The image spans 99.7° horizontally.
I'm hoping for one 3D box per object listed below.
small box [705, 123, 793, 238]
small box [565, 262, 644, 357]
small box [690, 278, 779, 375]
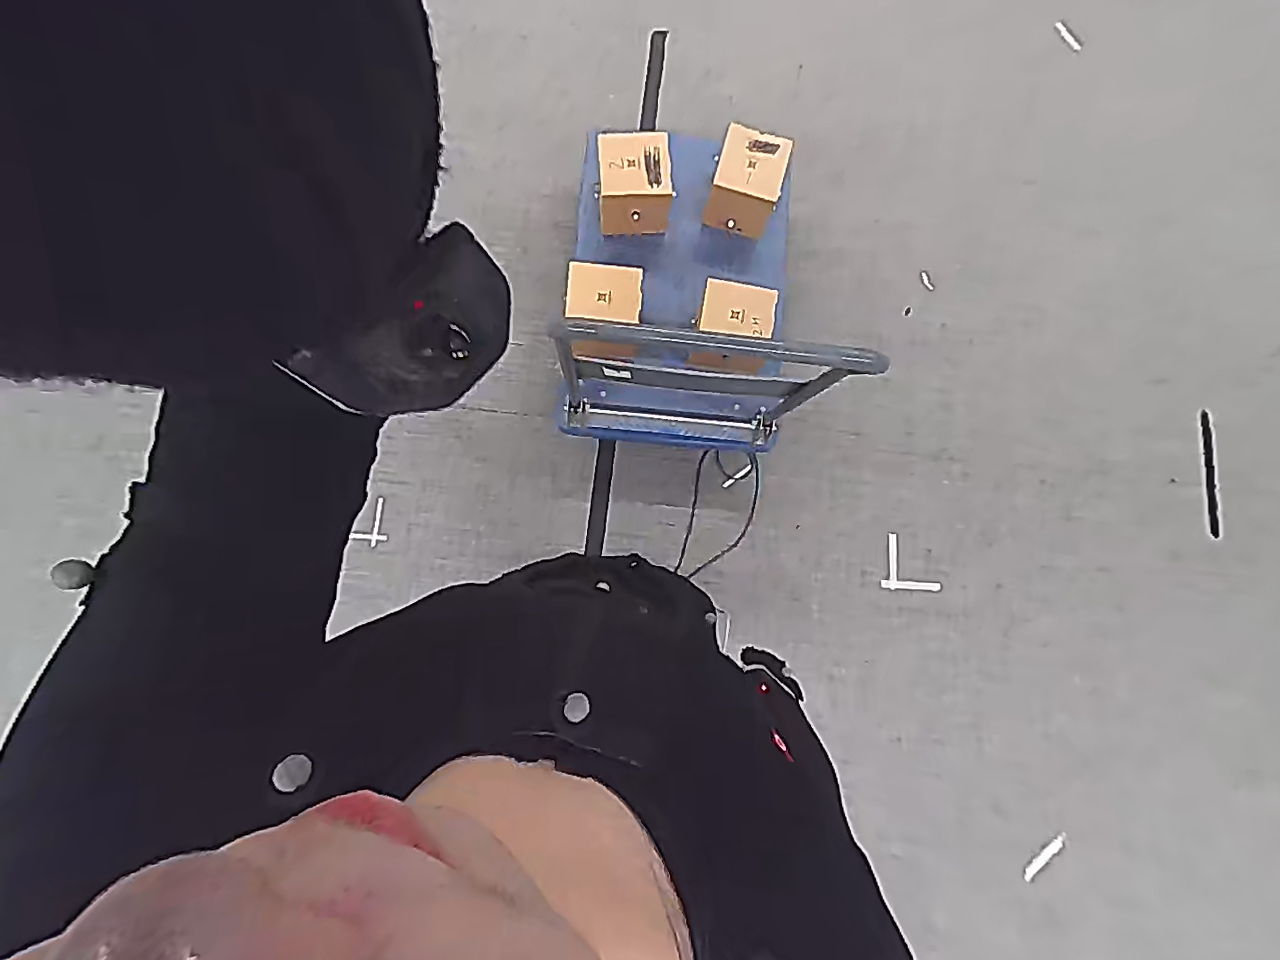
[{"bbox_3d":[0.275,-0.770,1.404,0.168,0.176,0.179,16,83,-1],"label":"small box"},{"bbox_3d":[-0.088,-0.414,1.338,0.179,0.176,0.168,4,82,-4],"label":"small box"},{"bbox_3d":[0.228,-0.374,1.350,0.179,0.176,0.168,11,82,-2],"label":"small box"}]
